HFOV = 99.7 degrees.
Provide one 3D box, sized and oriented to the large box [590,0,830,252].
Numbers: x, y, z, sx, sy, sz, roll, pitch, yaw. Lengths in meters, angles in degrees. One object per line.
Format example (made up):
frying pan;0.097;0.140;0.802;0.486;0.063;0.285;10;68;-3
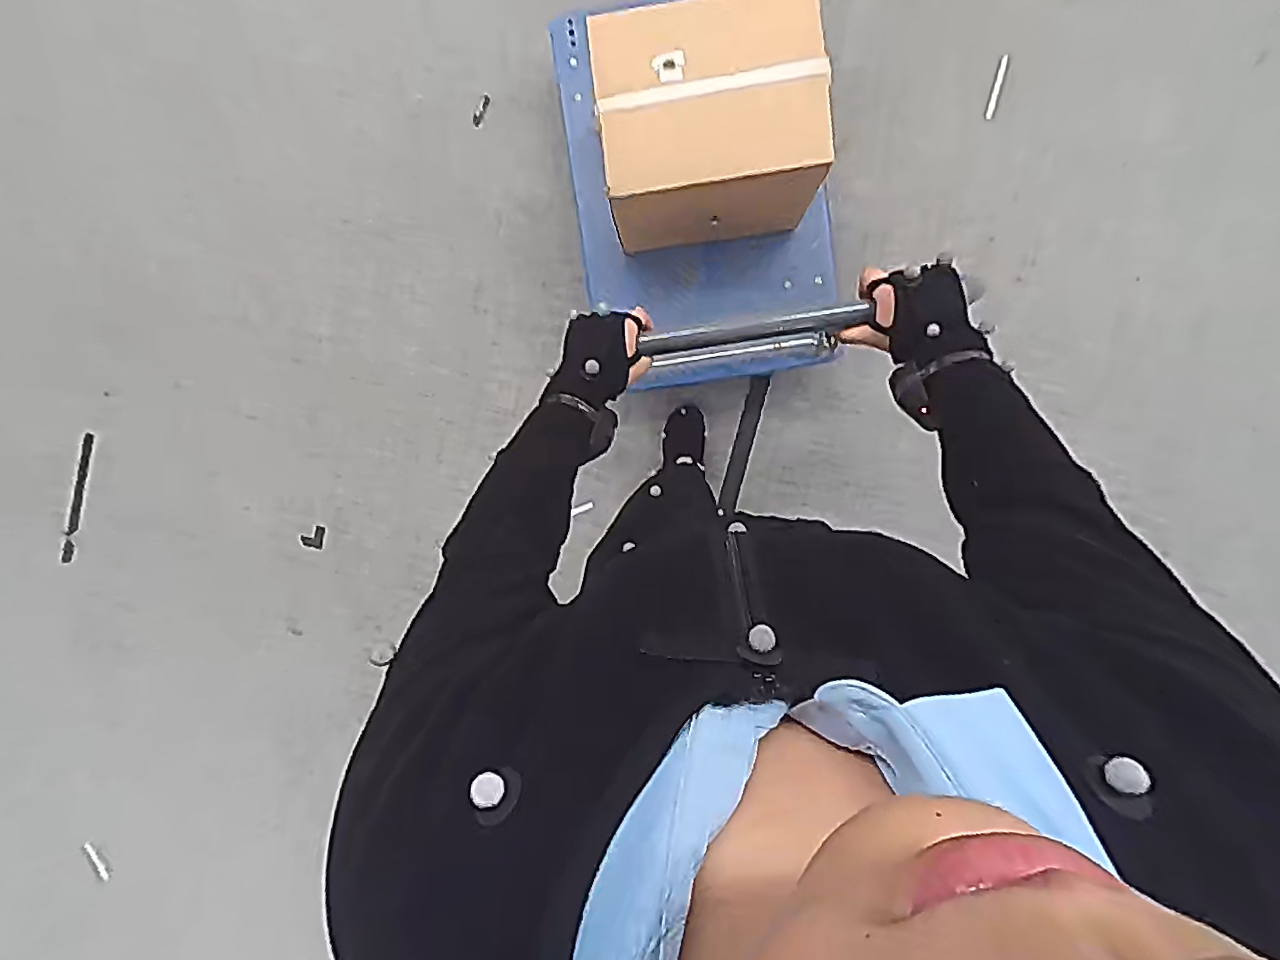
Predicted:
large box;0.138;-0.706;1.121;0.408;0.320;0.320;-7;93;6
